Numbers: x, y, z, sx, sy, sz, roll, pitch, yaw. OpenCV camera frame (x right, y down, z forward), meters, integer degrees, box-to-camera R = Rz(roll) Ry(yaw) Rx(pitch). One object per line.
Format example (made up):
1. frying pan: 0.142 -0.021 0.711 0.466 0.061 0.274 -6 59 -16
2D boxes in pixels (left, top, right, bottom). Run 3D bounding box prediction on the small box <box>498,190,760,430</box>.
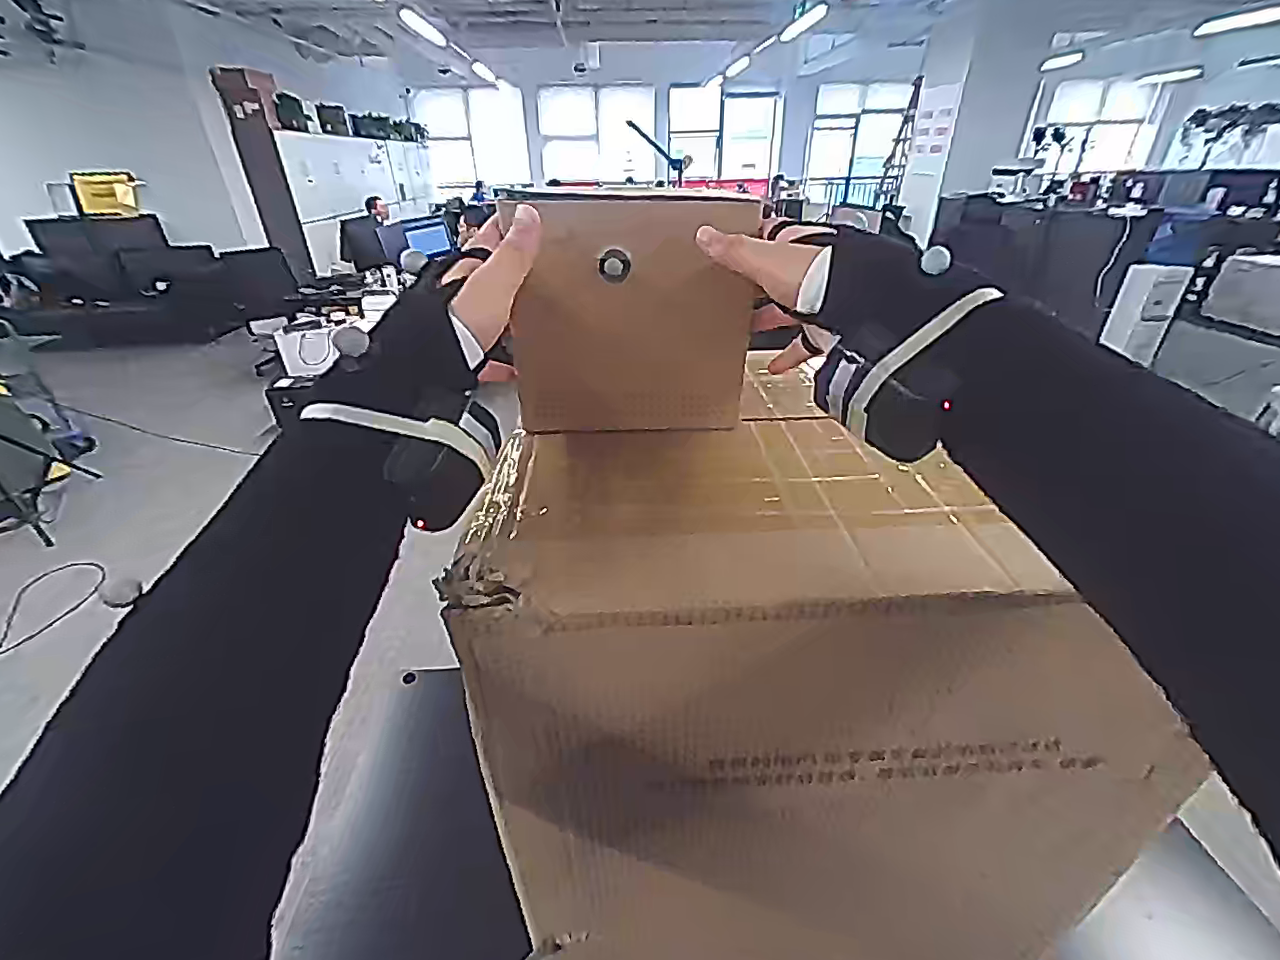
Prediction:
1. small box: -0.010 -0.148 0.458 0.179 0.176 0.168 -1 29 -3
